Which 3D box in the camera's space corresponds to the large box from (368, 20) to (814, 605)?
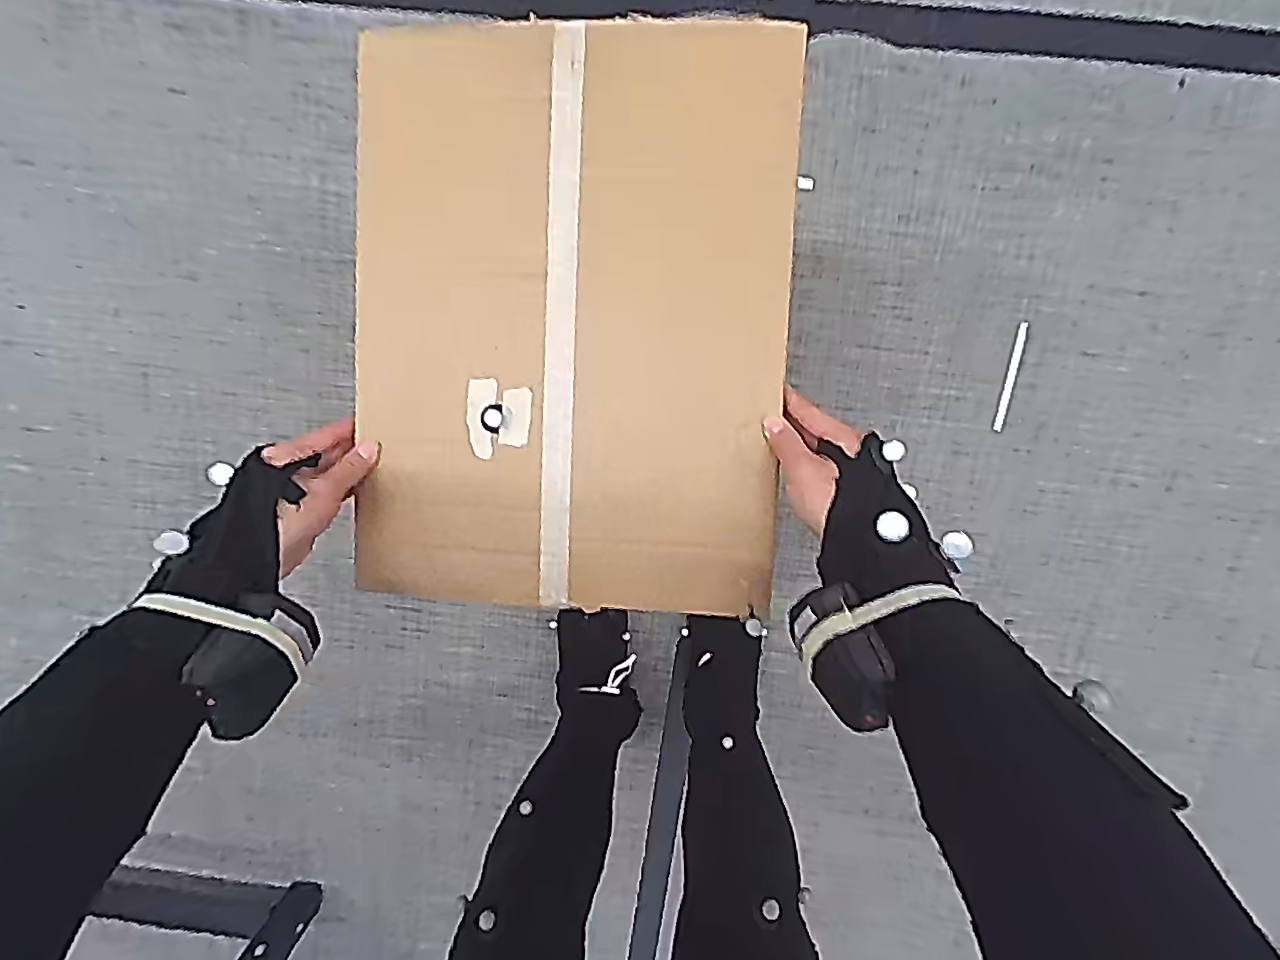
[{"bbox_3d":[-0.030,-0.124,0.531,0.320,0.320,0.408,2,95,5],"label":"large box"}]
